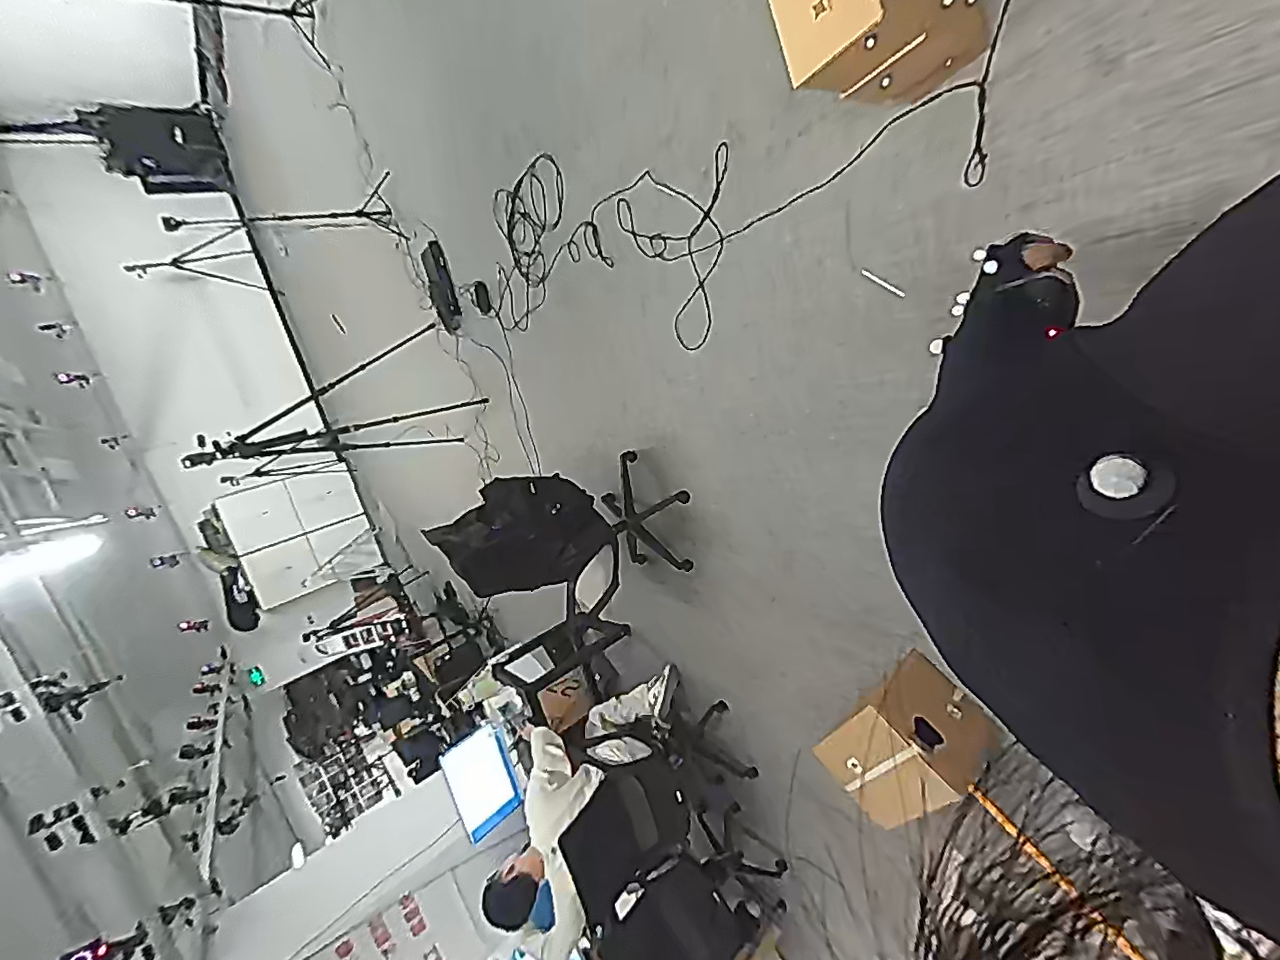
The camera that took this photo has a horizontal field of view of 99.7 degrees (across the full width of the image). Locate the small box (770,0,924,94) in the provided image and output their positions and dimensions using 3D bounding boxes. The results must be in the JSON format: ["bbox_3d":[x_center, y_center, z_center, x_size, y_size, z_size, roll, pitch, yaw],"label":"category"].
[{"bbox_3d":[0.370,-0.829,0.967,0.179,0.176,0.168,-10,101,54],"label":"small box"}]

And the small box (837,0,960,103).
[{"bbox_3d":[0.492,-0.877,1.064,0.179,0.176,0.168,-8,103,53],"label":"small box"}]

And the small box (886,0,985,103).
[{"bbox_3d":[0.607,-0.948,1.157,0.179,0.176,0.168,-14,97,56],"label":"small box"}]
